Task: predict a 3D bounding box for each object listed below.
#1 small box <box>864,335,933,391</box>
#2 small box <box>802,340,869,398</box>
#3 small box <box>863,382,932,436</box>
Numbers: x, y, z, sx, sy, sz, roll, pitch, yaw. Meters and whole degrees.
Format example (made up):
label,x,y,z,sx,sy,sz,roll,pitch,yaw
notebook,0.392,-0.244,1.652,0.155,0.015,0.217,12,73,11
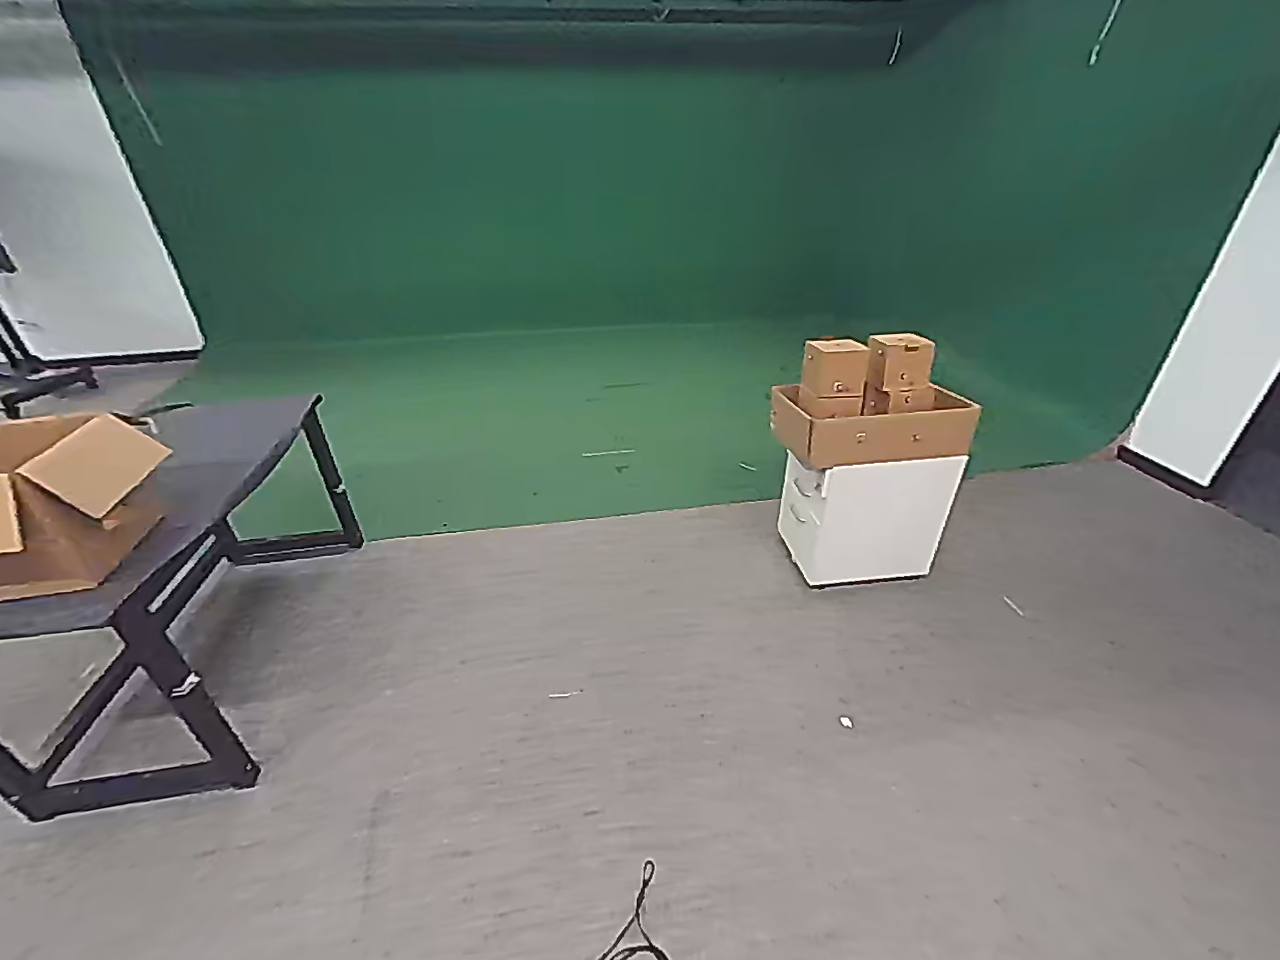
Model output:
label,x,y,z,sx,sy,sz,roll,pitch,yaw
small box,0.940,-0.432,1.987,0.168,0.176,0.179,-3,27,-1
small box,0.692,-0.399,1.938,0.168,0.176,0.179,-4,27,-3
small box,0.959,-0.273,2.032,0.168,0.176,0.179,-6,26,-3
